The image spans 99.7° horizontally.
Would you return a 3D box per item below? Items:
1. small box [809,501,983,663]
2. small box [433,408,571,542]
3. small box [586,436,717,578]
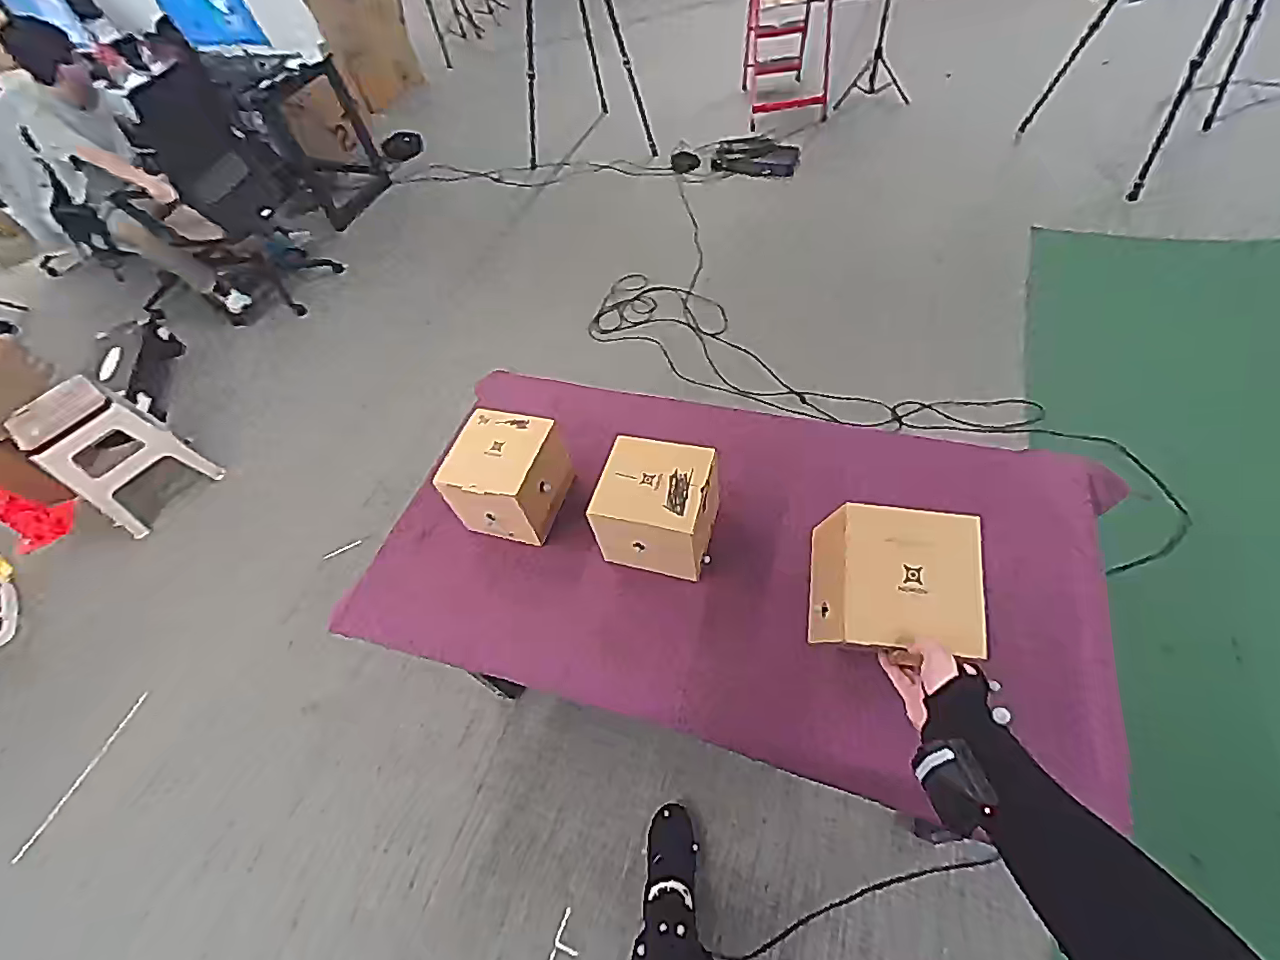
[{"bbox_3d":[0.332,0.142,0.729,0.168,0.176,0.179,7,73,5],"label":"small box"},{"bbox_3d":[-0.243,-0.005,1.009,0.168,0.176,0.179,11,58,16],"label":"small box"},{"bbox_3d":[0.031,0.050,0.925,0.179,0.176,0.168,10,57,17],"label":"small box"}]
